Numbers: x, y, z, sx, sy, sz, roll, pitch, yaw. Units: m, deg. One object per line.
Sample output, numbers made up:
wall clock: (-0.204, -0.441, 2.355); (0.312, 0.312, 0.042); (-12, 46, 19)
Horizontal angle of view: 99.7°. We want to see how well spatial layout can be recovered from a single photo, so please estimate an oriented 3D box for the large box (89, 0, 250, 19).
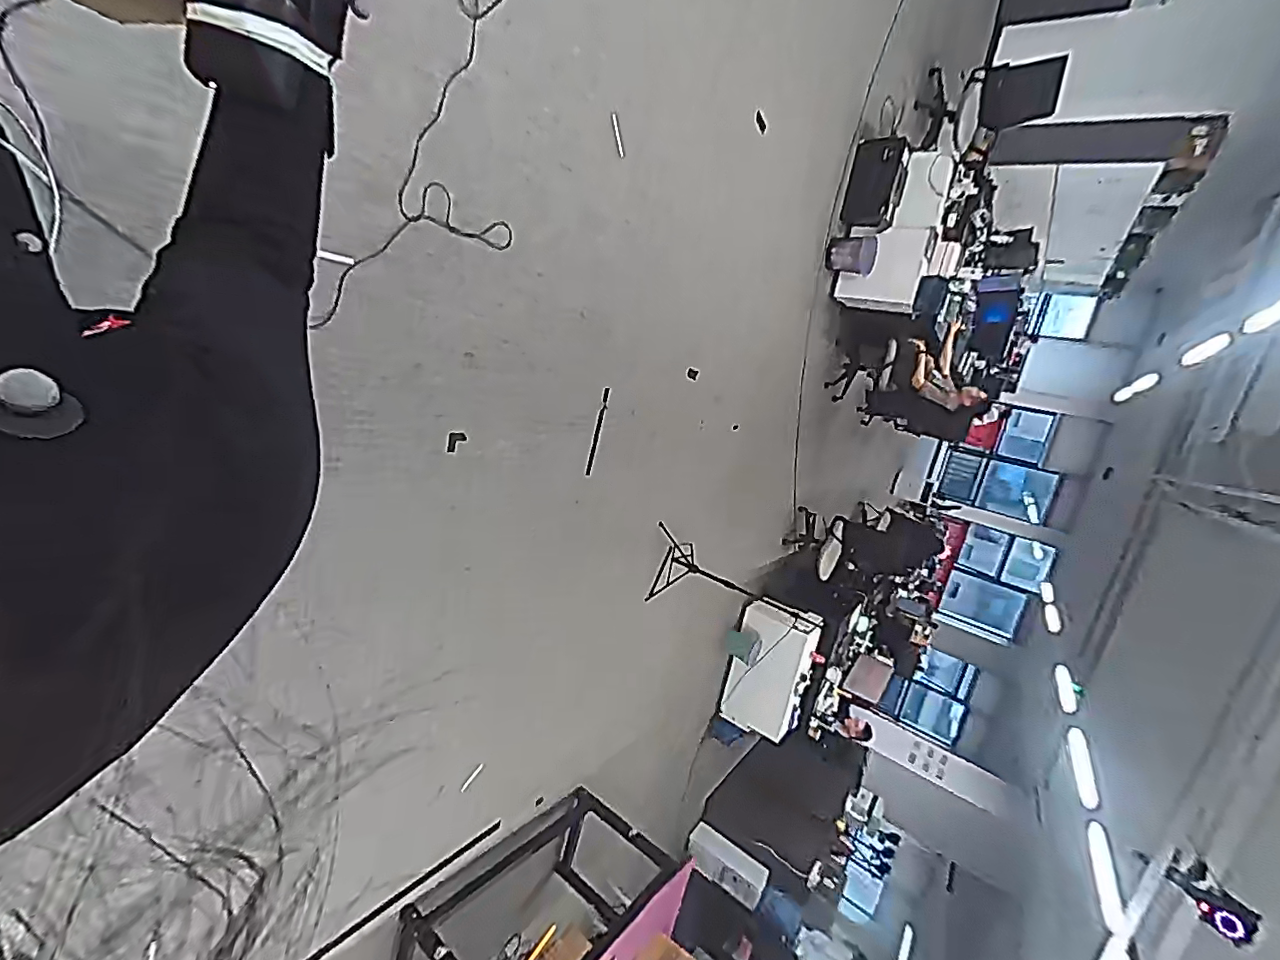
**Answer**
large box: (-0.443, -0.508, 0.240); (0.408, 0.320, 0.320); (-3, 119, -56)
